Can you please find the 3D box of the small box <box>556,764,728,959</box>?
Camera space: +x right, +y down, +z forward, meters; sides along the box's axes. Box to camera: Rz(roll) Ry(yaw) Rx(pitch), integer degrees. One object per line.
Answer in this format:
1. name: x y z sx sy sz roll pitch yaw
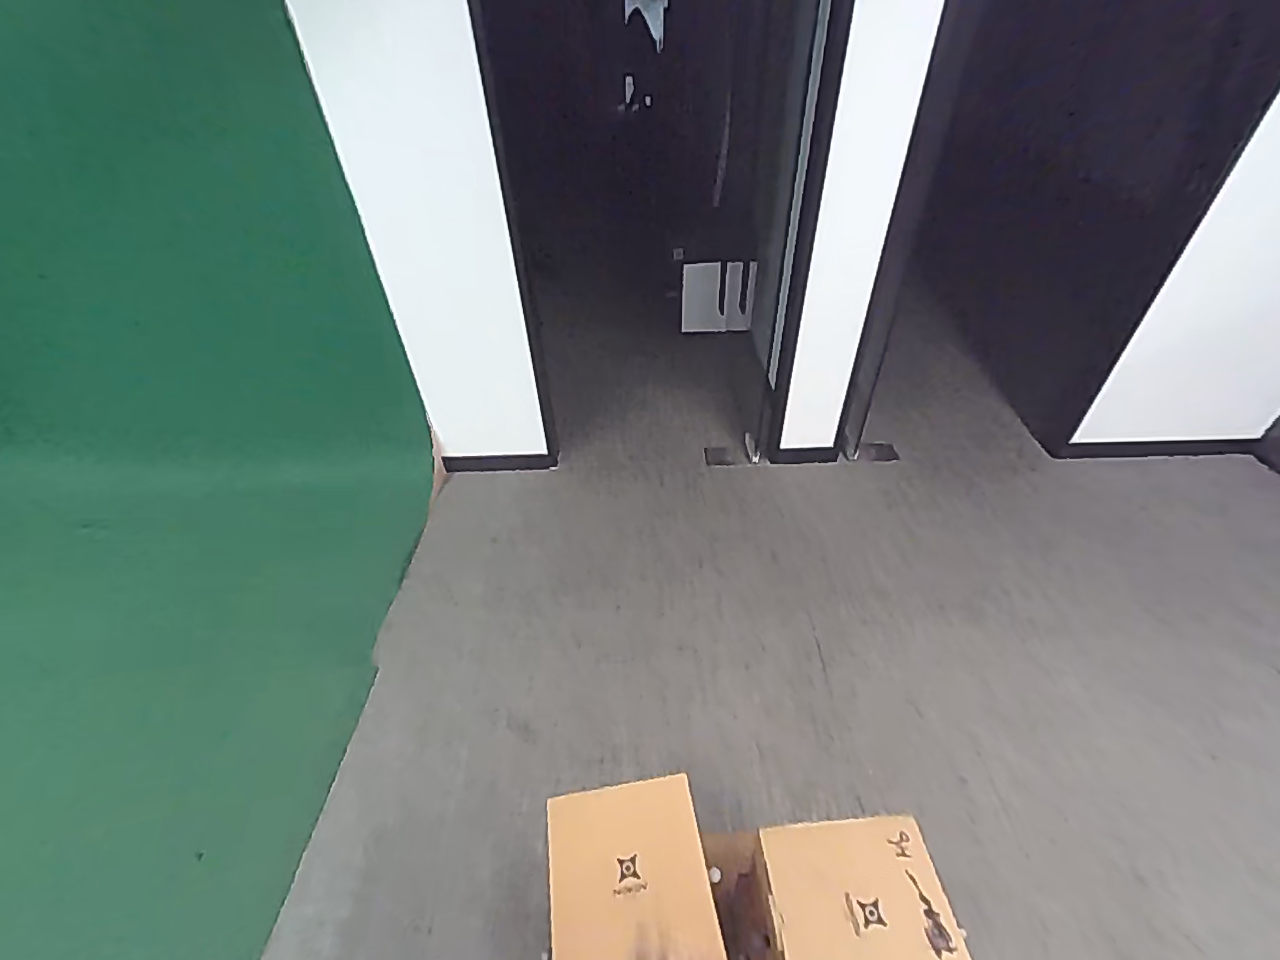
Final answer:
1. small box: -0.006 0.466 0.630 0.168 0.176 0.179 -7 43 -6
